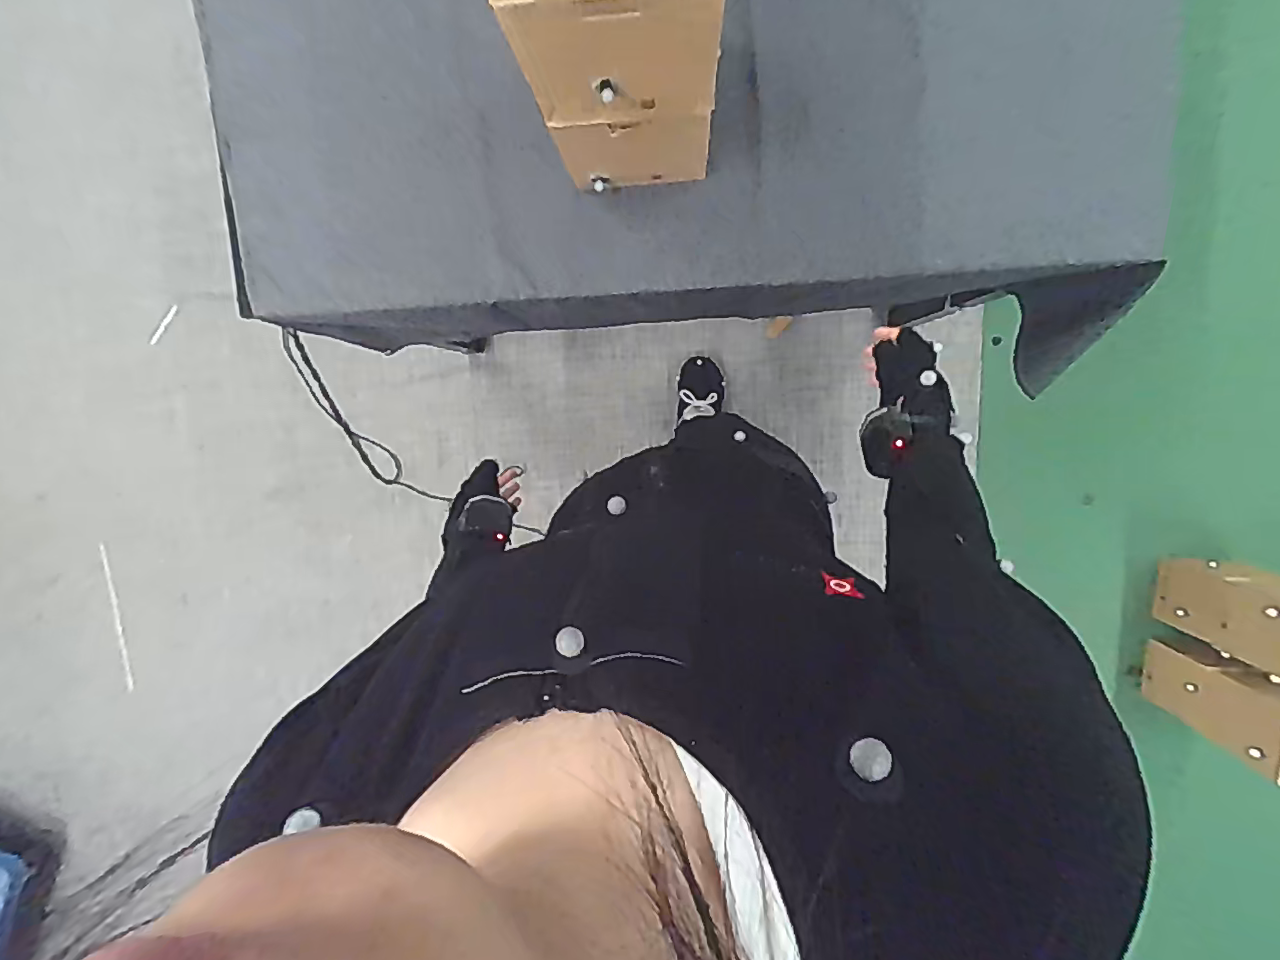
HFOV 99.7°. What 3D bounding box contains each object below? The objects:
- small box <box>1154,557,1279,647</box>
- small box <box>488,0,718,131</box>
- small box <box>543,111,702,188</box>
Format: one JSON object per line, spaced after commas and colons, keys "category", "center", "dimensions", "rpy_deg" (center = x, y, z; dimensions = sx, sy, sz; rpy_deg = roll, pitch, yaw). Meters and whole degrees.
{"category": "small box", "center": [1.432, 0.293, 1.330], "dimensions": [0.179, 0.176, 0.168], "rpy_deg": [3, 98, 4]}
{"category": "small box", "center": [-0.025, -0.429, 0.449], "dimensions": [0.168, 0.176, 0.179], "rpy_deg": [-3, 98, 4]}
{"category": "small box", "center": [-0.014, -0.450, 0.610], "dimensions": [0.168, 0.176, 0.179], "rpy_deg": [-3, 96, 5]}
